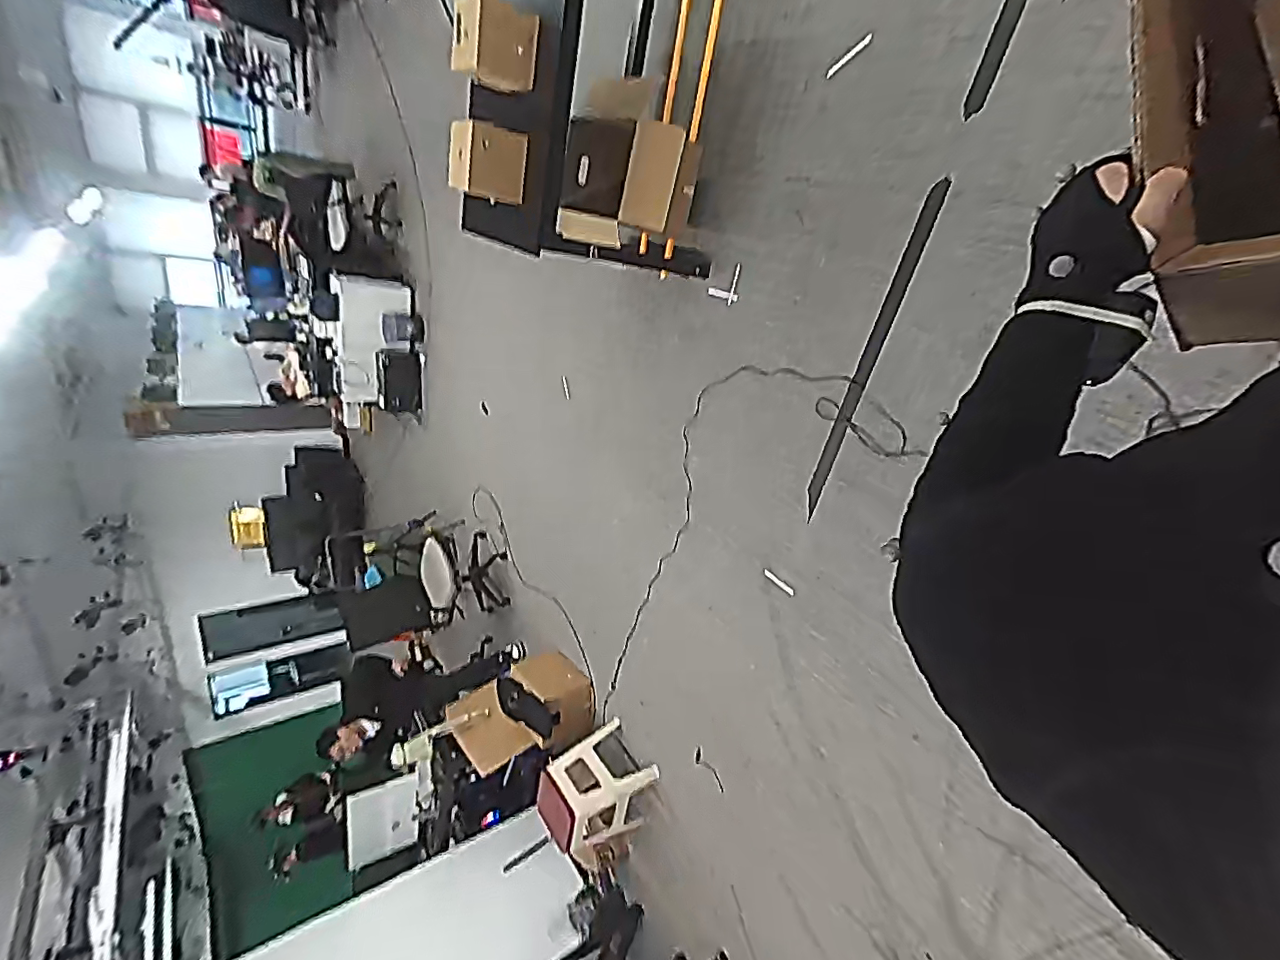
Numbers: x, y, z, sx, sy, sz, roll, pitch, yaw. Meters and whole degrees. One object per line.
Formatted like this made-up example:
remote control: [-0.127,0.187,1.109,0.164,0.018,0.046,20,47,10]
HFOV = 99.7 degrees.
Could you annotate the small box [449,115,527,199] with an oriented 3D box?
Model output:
small box: [-0.449,-0.952,1.597,0.168,0.176,0.179,37,124,43]

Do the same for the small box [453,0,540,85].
small box: [-0.395,-1.209,1.484,0.179,0.176,0.168,38,125,42]
